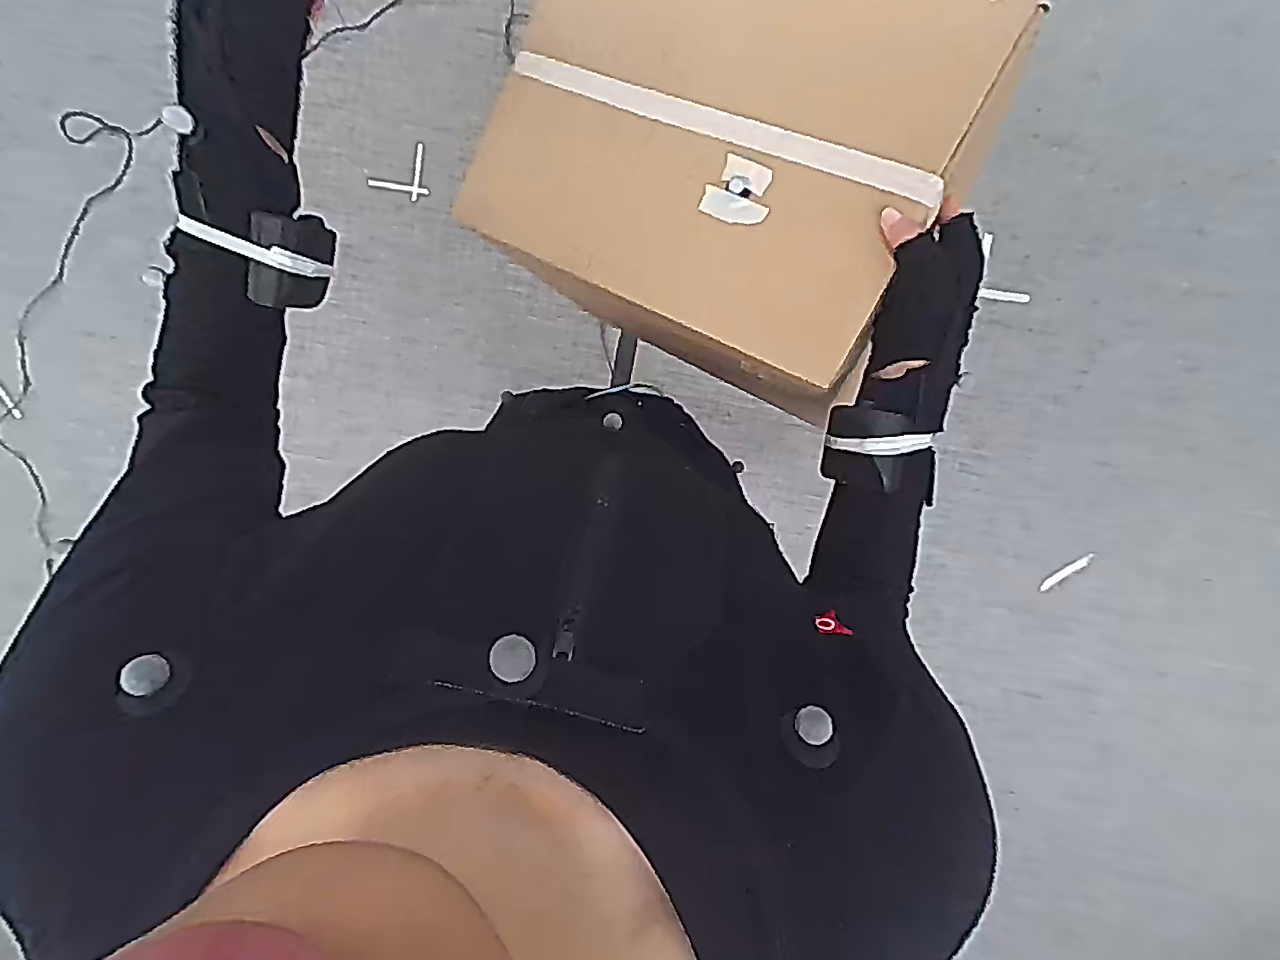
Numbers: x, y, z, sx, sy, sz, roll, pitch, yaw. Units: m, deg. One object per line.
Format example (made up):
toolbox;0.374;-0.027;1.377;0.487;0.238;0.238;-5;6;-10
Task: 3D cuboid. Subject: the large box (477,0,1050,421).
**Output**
large box;0.113;-0.305;0.607;0.408;0.320;0.320;32;100;19
